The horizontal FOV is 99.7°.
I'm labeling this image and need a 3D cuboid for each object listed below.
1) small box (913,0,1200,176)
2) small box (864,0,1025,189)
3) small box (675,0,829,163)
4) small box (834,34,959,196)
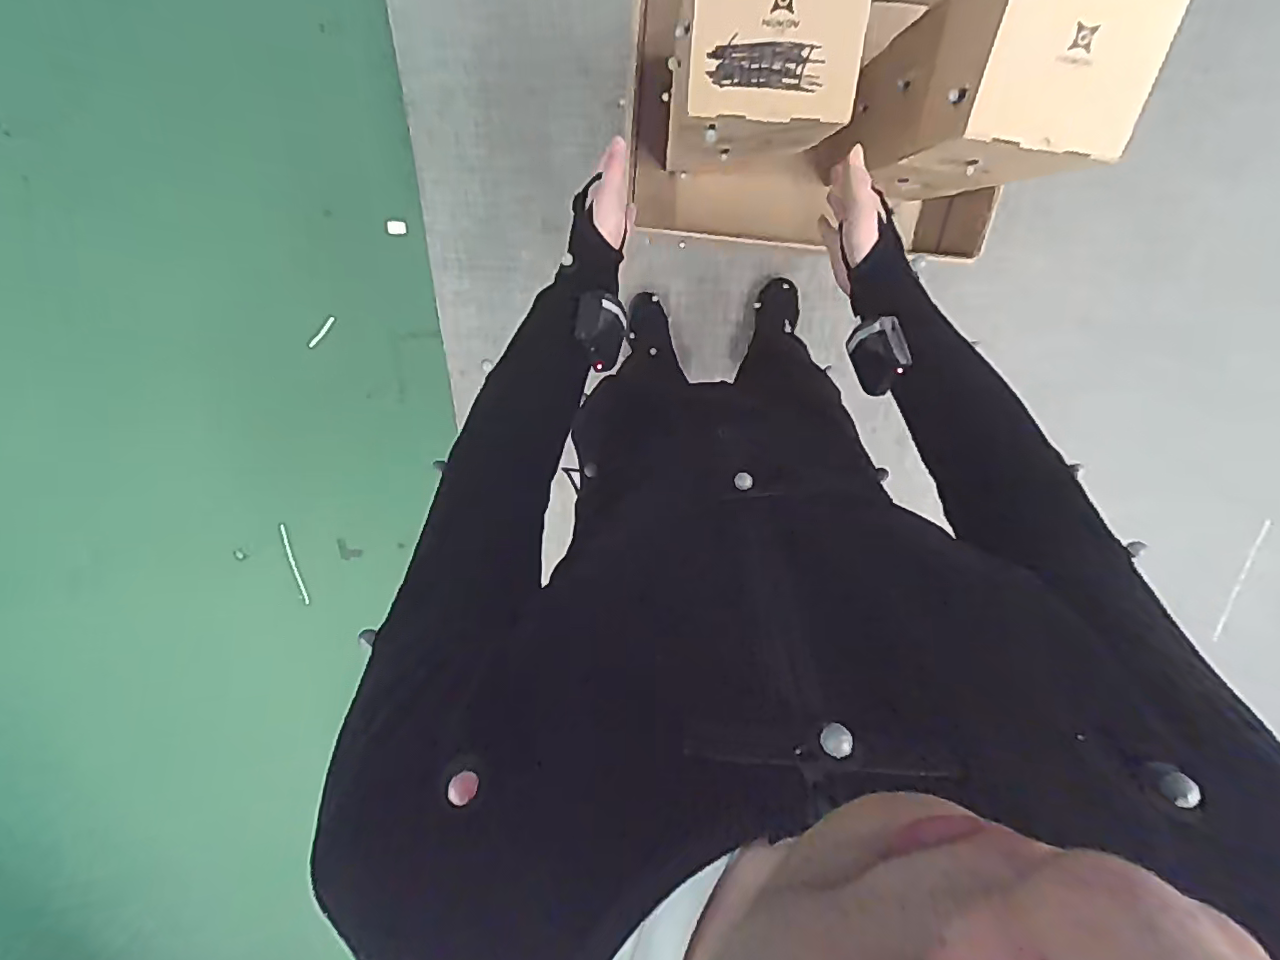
[{"bbox_3d":[0.424,-0.444,0.578,0.168,0.176,0.179,8,114,-1],"label":"small box"},{"bbox_3d":[0.426,-0.508,0.726,0.168,0.176,0.179,8,114,-2],"label":"small box"},{"bbox_3d":[0.135,-0.537,0.718,0.168,0.176,0.179,2,114,0],"label":"small box"},{"bbox_3d":[0.434,-0.575,0.875,0.168,0.176,0.179,9,114,-2],"label":"small box"}]
